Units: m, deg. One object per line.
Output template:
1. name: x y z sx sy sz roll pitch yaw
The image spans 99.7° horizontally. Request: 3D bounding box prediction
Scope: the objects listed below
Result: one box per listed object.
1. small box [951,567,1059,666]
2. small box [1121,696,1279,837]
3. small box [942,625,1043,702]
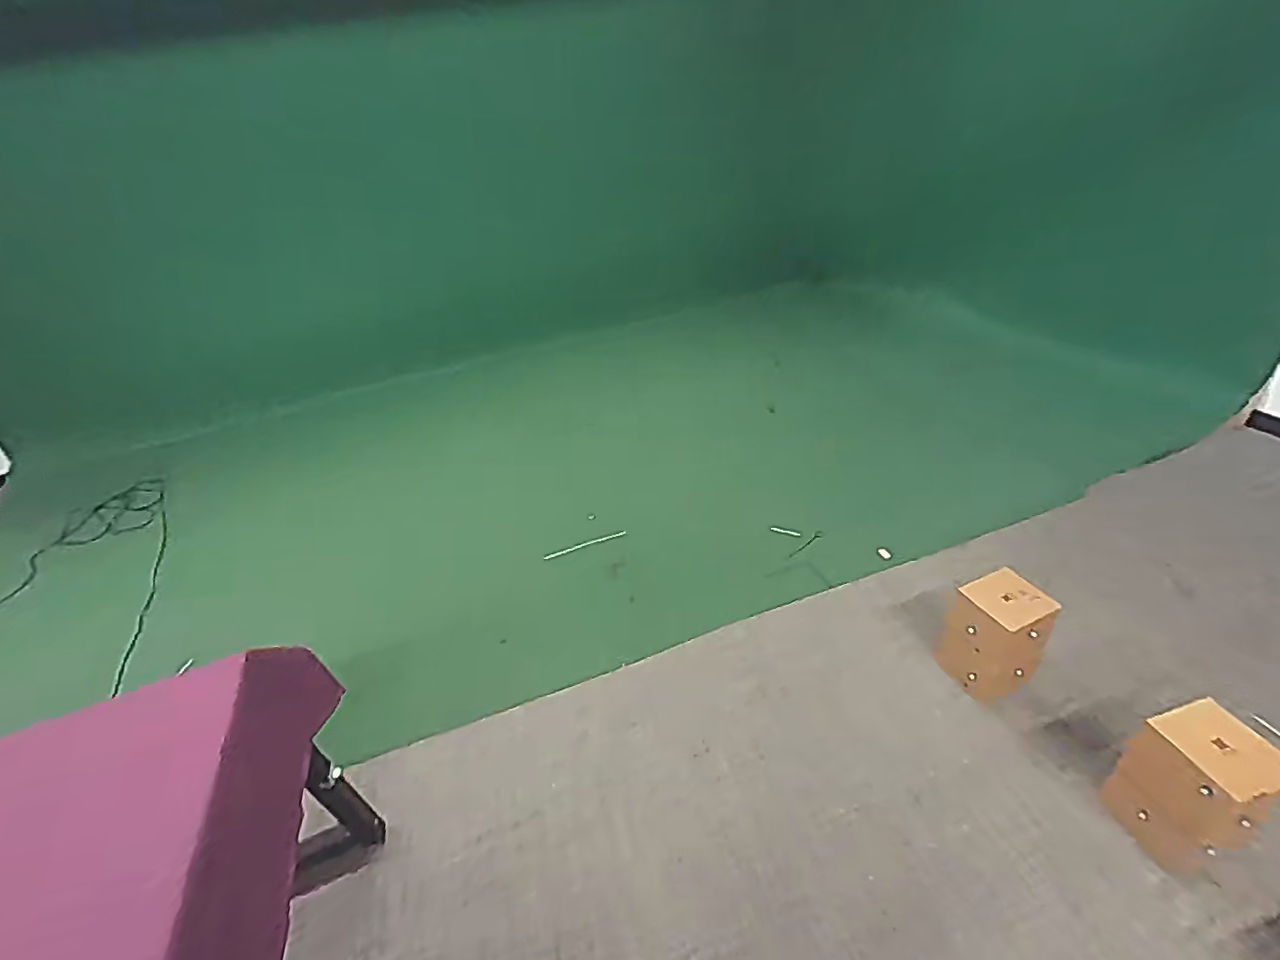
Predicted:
1. small box: 0.978 0.373 1.469 0.179 0.176 0.168 -19 37 -13
2. small box: 1.162 0.589 1.115 0.168 0.176 0.179 -15 35 -8
3. small box: 1.005 0.507 1.562 0.179 0.176 0.168 -18 36 -12
